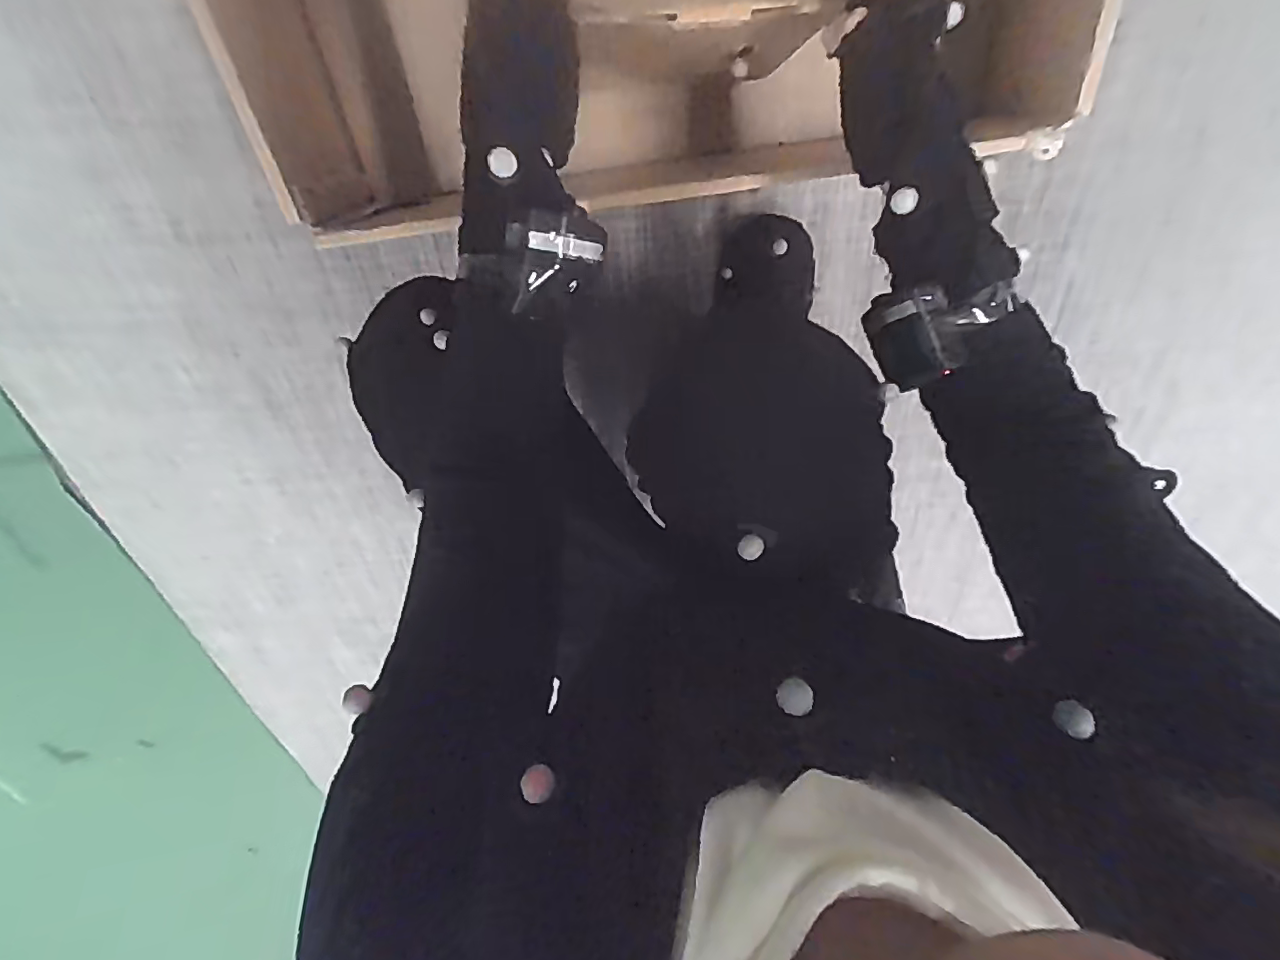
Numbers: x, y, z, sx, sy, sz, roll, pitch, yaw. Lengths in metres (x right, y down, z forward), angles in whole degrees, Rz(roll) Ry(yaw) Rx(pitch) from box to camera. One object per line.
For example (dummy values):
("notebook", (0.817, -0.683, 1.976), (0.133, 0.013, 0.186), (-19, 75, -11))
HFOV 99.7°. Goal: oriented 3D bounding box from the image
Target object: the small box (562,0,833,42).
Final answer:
("small box", (0.043, -0.310, 0.217), (0.179, 0.176, 0.168), (-11, 115, -2))
